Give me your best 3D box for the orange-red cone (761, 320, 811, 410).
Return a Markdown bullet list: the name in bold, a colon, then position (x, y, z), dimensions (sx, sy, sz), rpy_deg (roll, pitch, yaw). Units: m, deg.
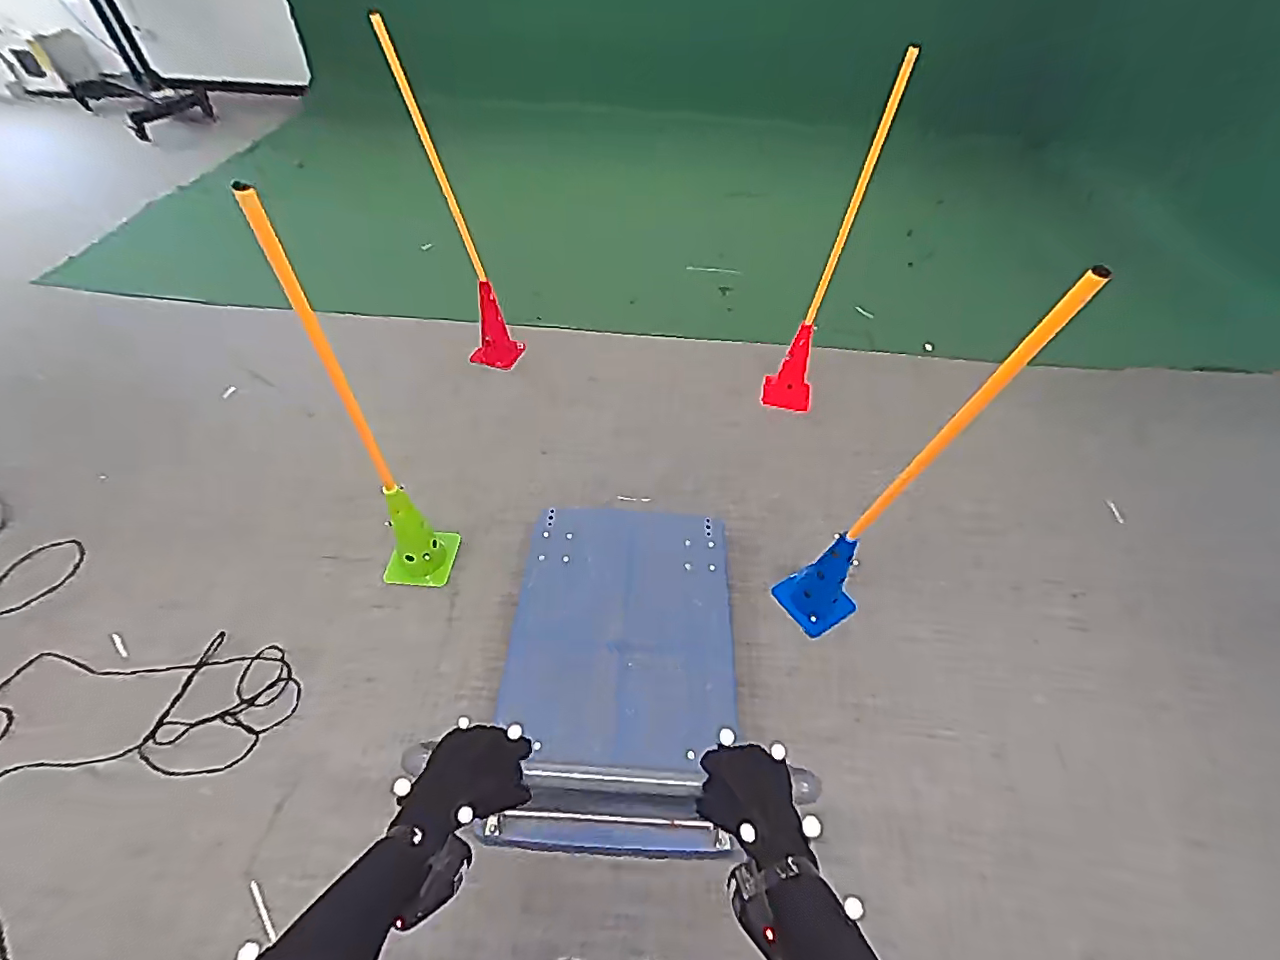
- **orange-red cone**: position (0.631, -0.485, 2.189), dimensions (0.198, 0.360, 0.199), rpy_deg (13, 51, 9)
